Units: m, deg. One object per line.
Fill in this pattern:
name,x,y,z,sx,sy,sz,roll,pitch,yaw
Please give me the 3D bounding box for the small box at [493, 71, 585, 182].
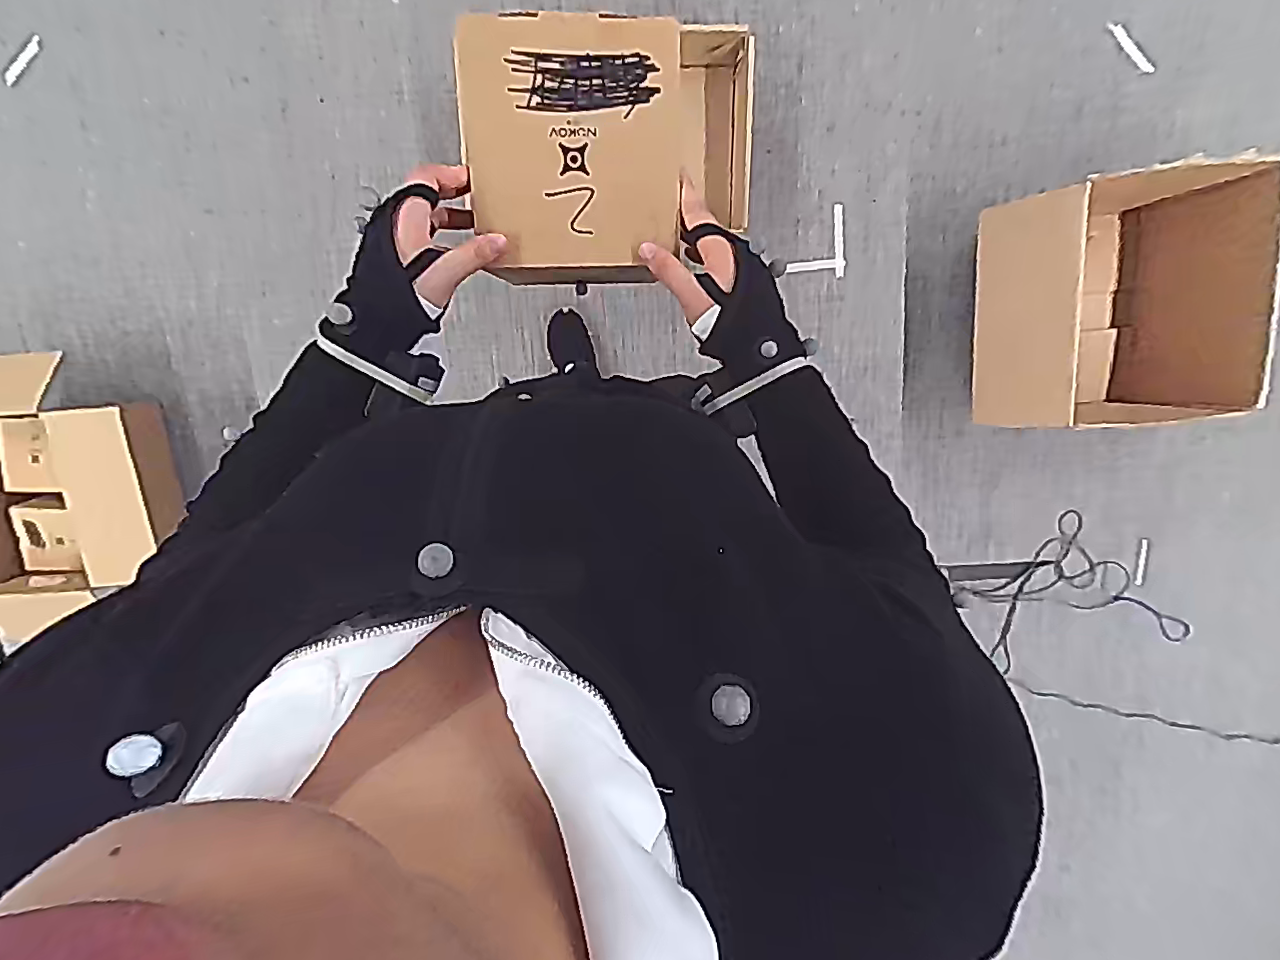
small box,-0.216,-0.774,1.200,0.179,0.176,0.168,-1,105,-3
